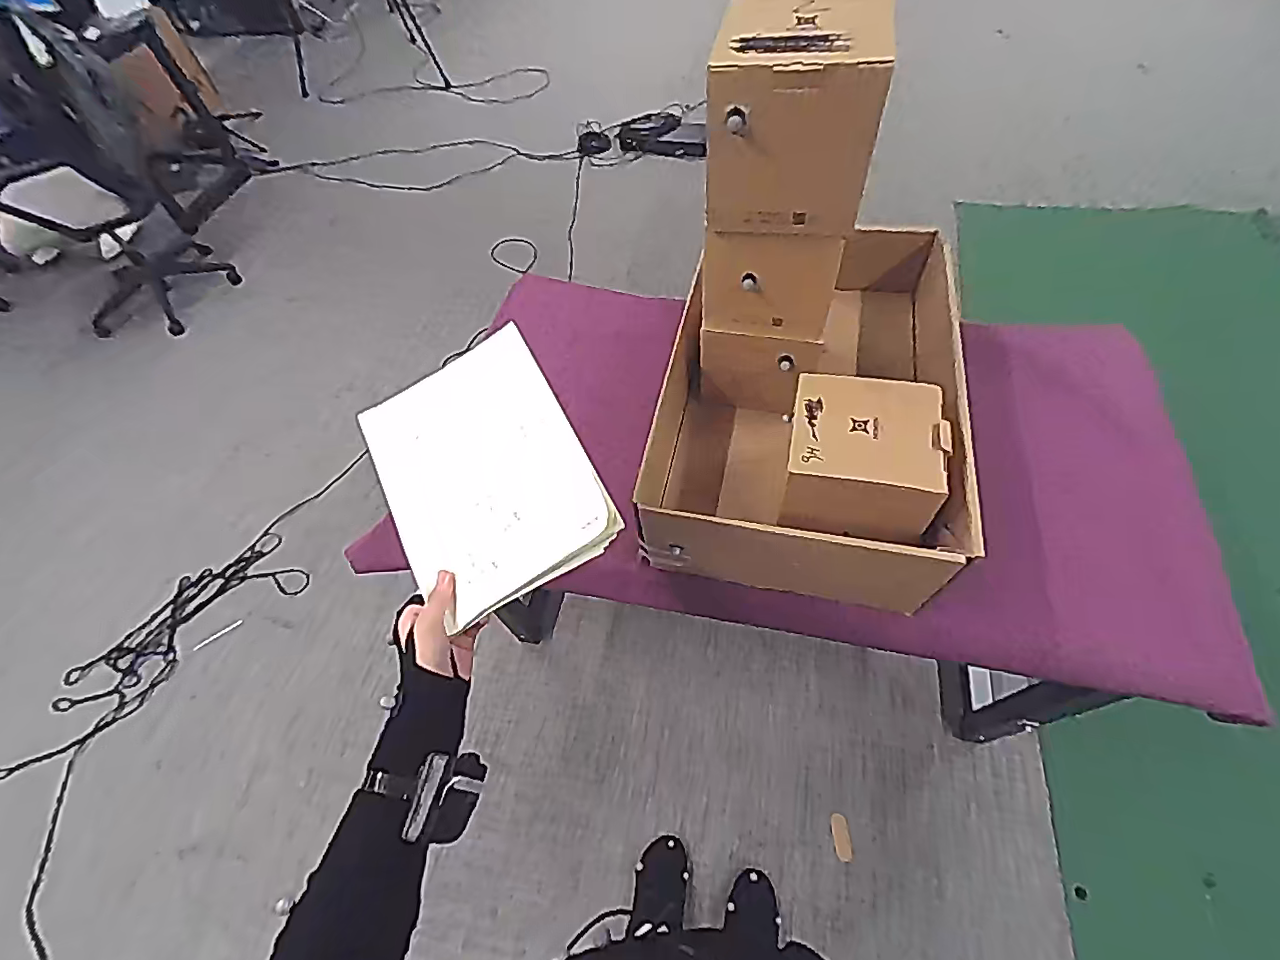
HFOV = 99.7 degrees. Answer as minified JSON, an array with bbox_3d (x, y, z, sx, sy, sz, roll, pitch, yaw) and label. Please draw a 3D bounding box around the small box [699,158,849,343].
[{"bbox_3d":[0.180,-0.312,0.743,0.168,0.176,0.179,10,59,13],"label":"small box"}]
